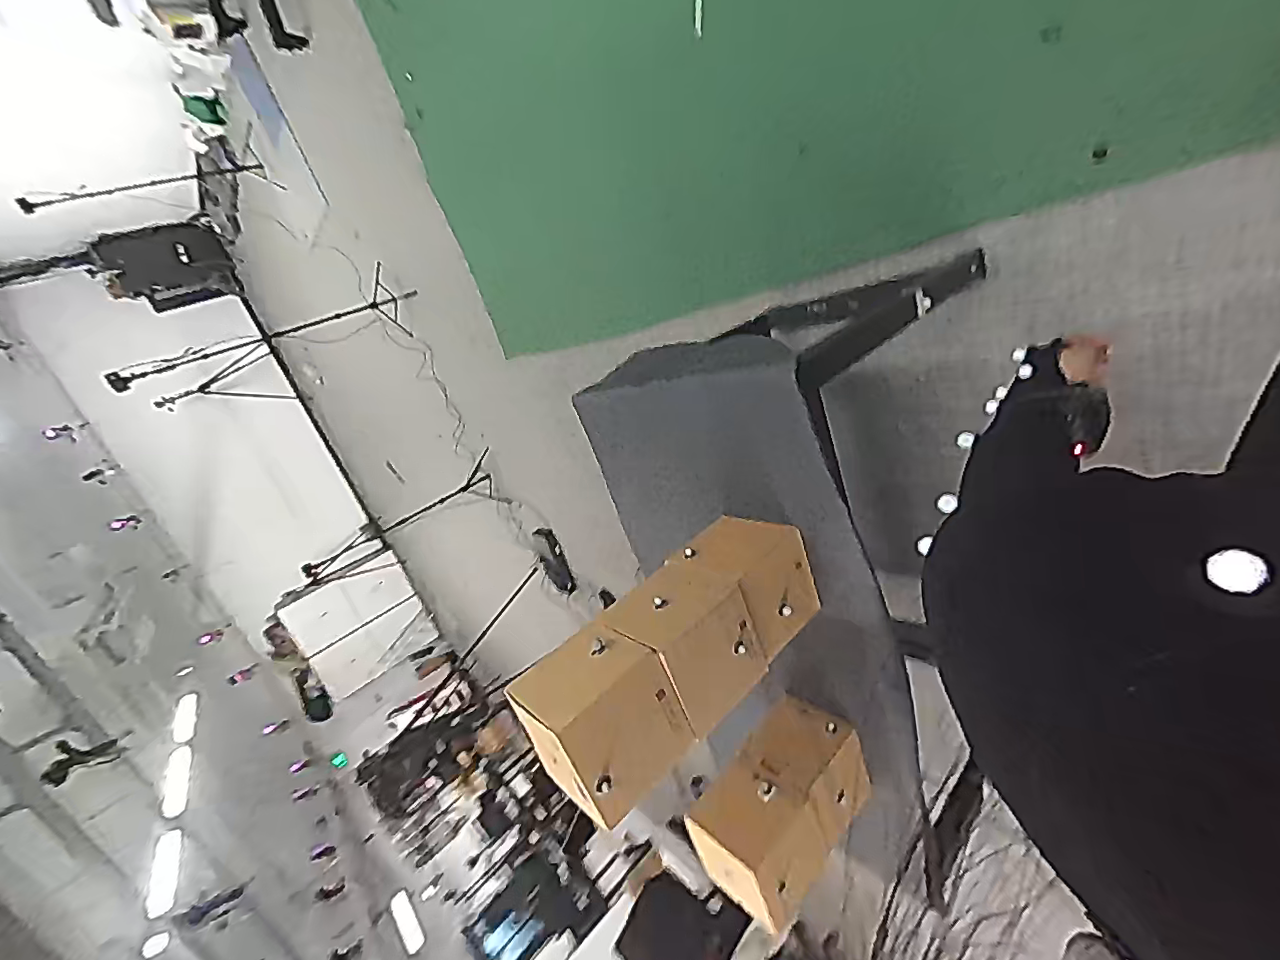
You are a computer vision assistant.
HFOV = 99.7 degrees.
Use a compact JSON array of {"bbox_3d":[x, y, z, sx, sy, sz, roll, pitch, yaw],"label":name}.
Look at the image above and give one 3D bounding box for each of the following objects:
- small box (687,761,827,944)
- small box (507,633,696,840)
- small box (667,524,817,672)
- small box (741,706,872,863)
[{"bbox_3d":[0.218,0.663,0.984,0.168,0.176,0.179,6,121,51],"label":"small box"},{"bbox_3d":[-0.053,0.341,0.762,0.179,0.176,0.168,0,118,55],"label":"small box"},{"bbox_3d":[0.183,0.190,0.933,0.179,0.176,0.168,5,121,53],"label":"small box"},{"bbox_3d":[0.332,0.587,1.071,0.168,0.176,0.179,6,122,52],"label":"small box"}]
